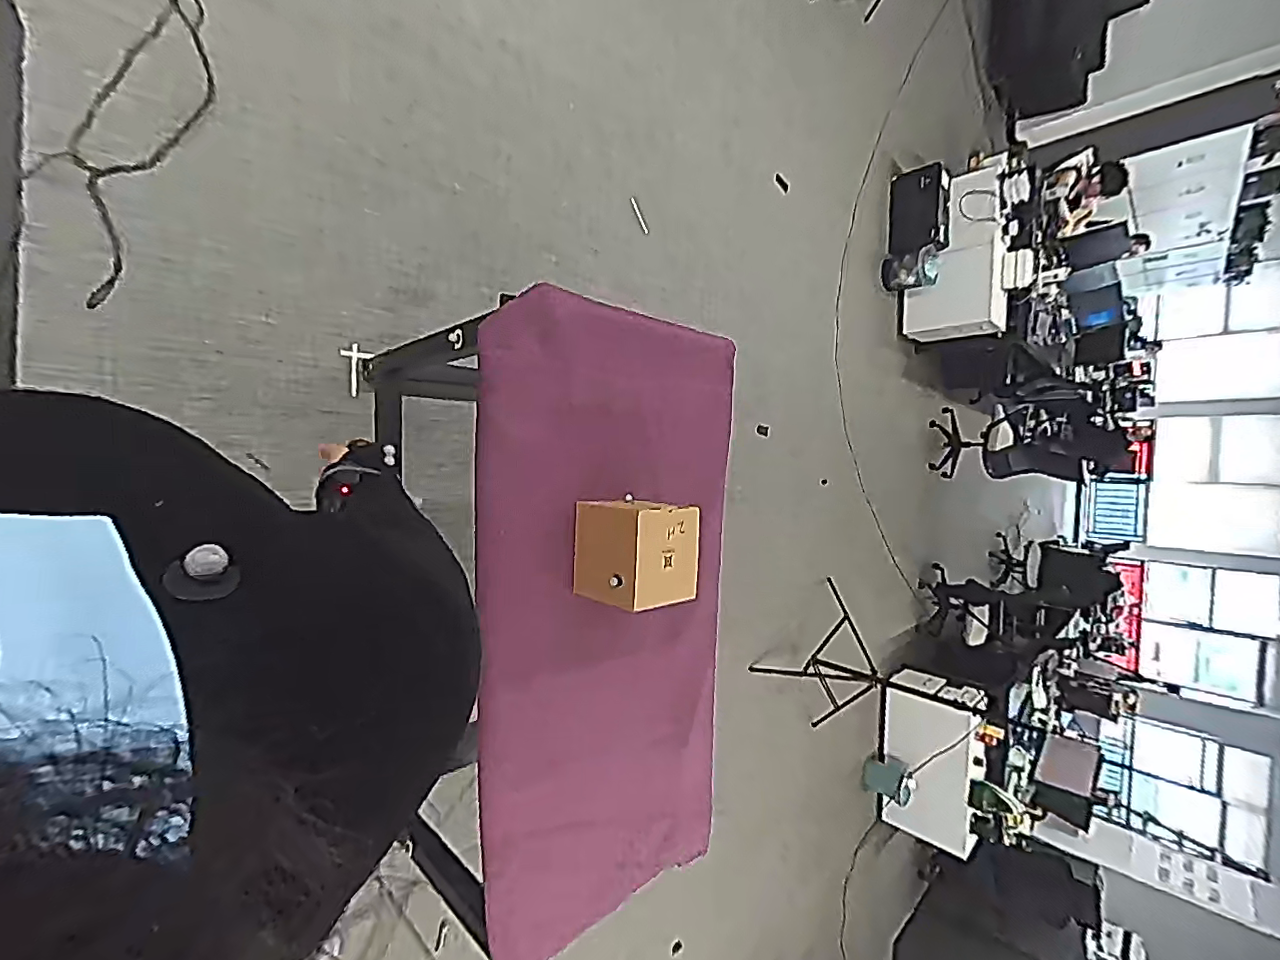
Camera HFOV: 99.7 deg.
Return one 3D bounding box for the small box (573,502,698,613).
[{"bbox_3d":[-0.011,0.135,1.014,0.168,0.176,0.179,2,91,-46],"label":"small box"}]
